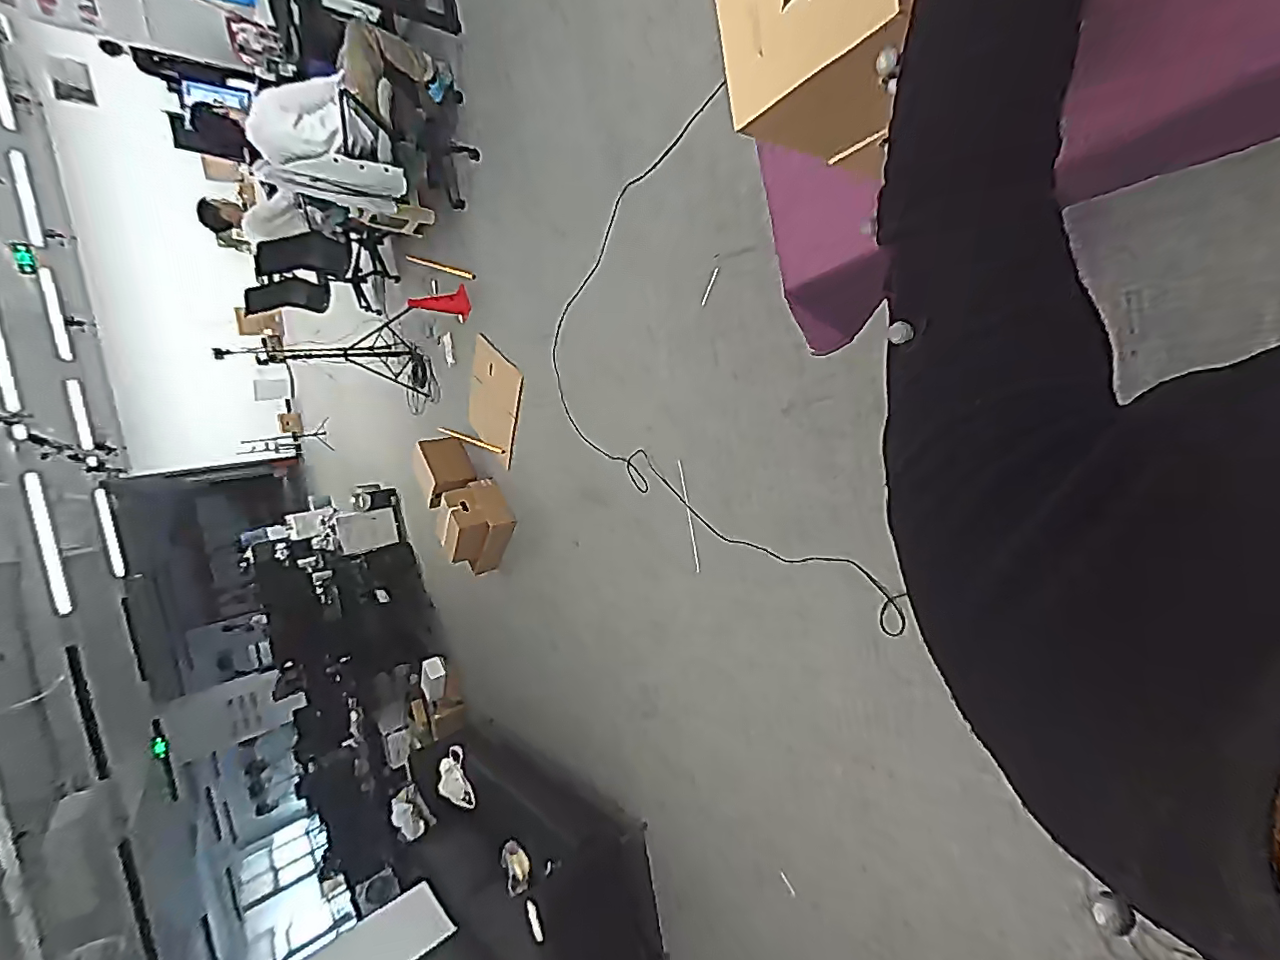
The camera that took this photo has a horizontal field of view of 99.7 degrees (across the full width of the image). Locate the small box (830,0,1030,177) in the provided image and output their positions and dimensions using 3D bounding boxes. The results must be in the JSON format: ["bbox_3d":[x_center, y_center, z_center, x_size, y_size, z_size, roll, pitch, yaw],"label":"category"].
[{"bbox_3d":[0.333,-0.493,0.638,0.168,0.176,0.179,-4,96,52],"label":"small box"}]

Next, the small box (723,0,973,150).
[{"bbox_3d":[0.207,-0.464,0.537,0.179,0.176,0.168,-3,98,52],"label":"small box"}]
